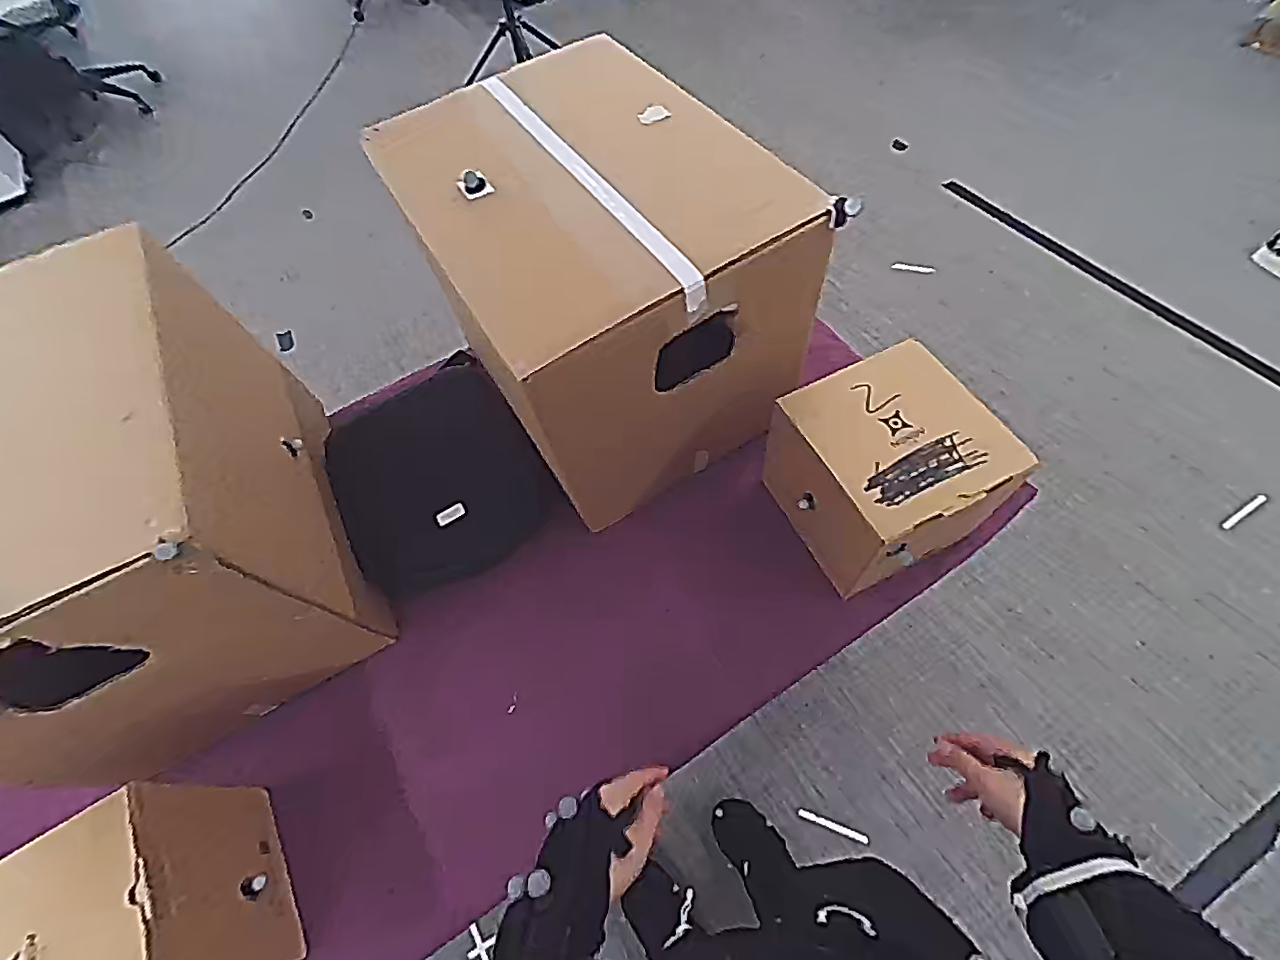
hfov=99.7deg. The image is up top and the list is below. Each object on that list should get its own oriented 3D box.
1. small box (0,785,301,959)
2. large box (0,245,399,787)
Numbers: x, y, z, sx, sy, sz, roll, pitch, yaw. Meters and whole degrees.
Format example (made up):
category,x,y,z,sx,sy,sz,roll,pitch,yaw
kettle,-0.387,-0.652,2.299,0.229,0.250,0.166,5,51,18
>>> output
category,x,y,z,sx,sy,sz,roll,pitch,yaw
small box,-0.431,0.388,0.449,0.179,0.176,0.168,-32,62,-15
large box,-0.524,0.045,0.573,0.320,0.320,0.408,-30,65,-9
